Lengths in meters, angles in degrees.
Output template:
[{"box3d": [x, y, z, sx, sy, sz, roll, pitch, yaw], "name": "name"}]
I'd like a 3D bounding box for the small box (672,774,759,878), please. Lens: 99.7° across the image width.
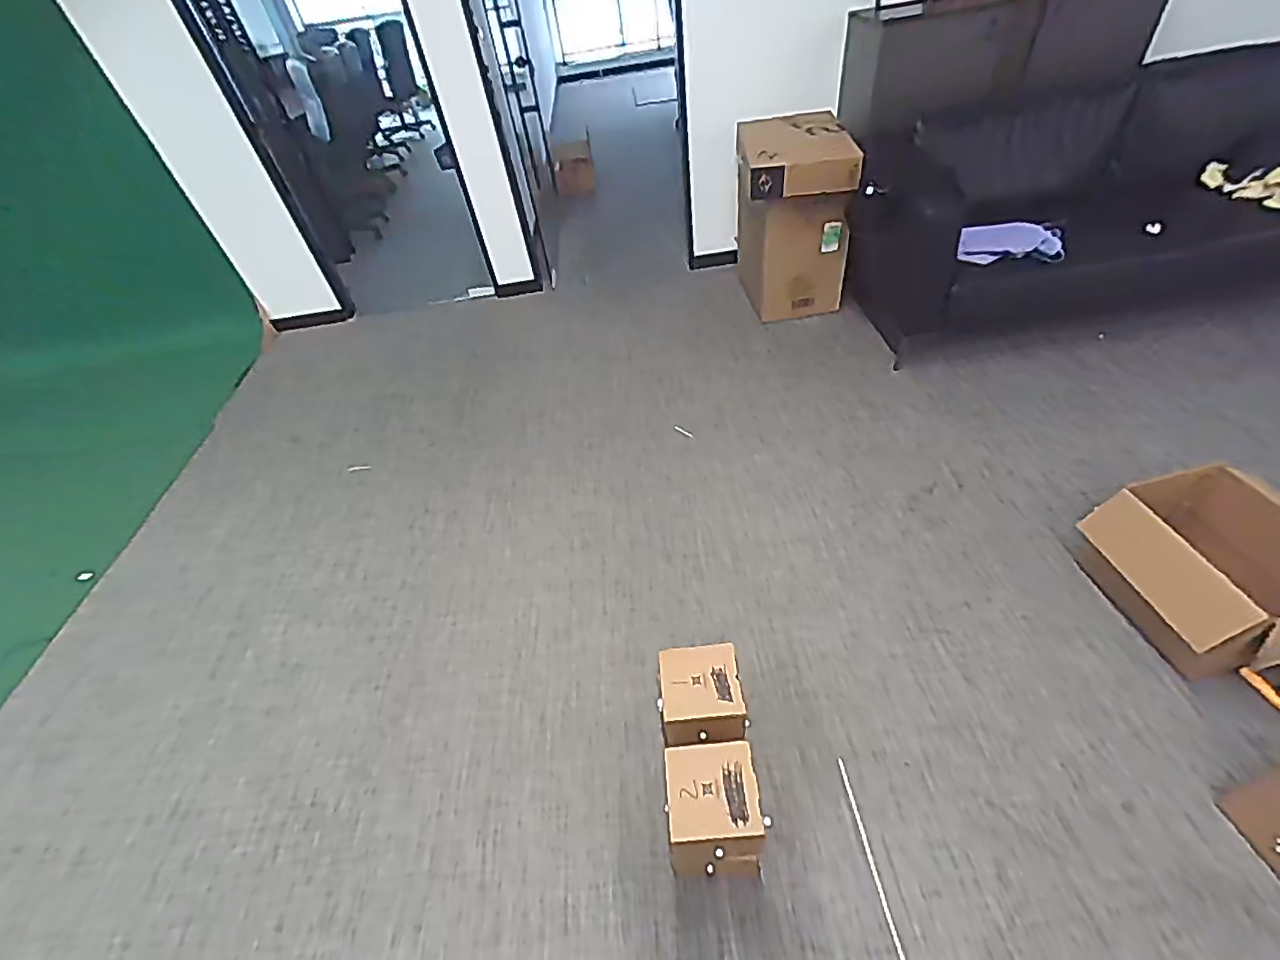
[{"box3d": [0.167, 0.769, 1.200, 0.179, 0.176, 0.168, -3, 45, 6], "name": "small box"}]
